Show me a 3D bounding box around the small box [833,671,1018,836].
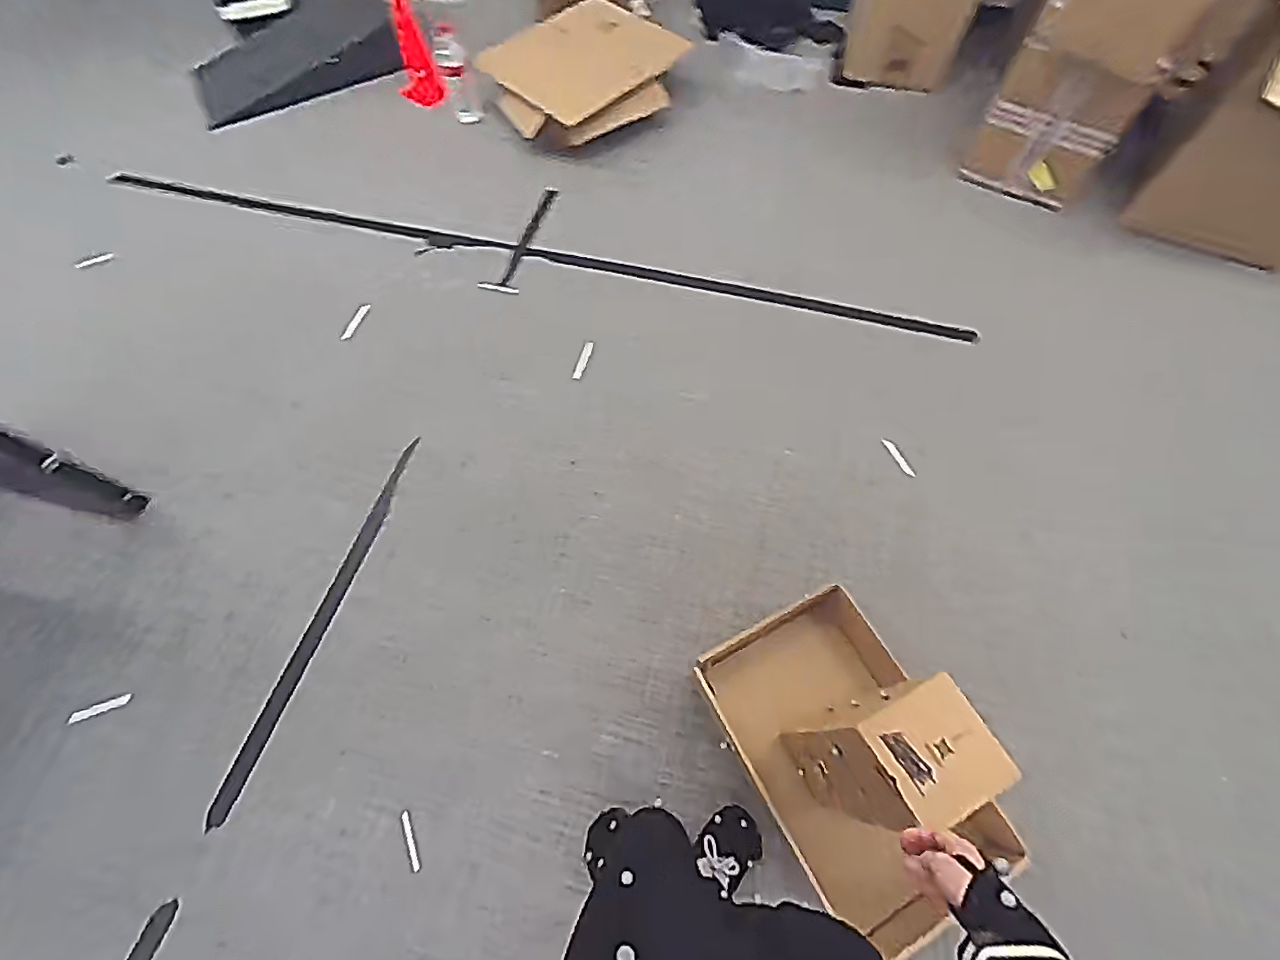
[{"bbox_3d":[0.433,0.431,0.862,0.179,0.176,0.168,-24,66,-12],"label":"small box"}]

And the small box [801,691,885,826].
[{"bbox_3d":[0.431,0.507,1.008,0.179,0.176,0.168,-24,65,-10],"label":"small box"}]

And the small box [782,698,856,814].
[{"bbox_3d":[0.431,0.578,1.153,0.179,0.176,0.168,-22,65,-10],"label":"small box"}]
